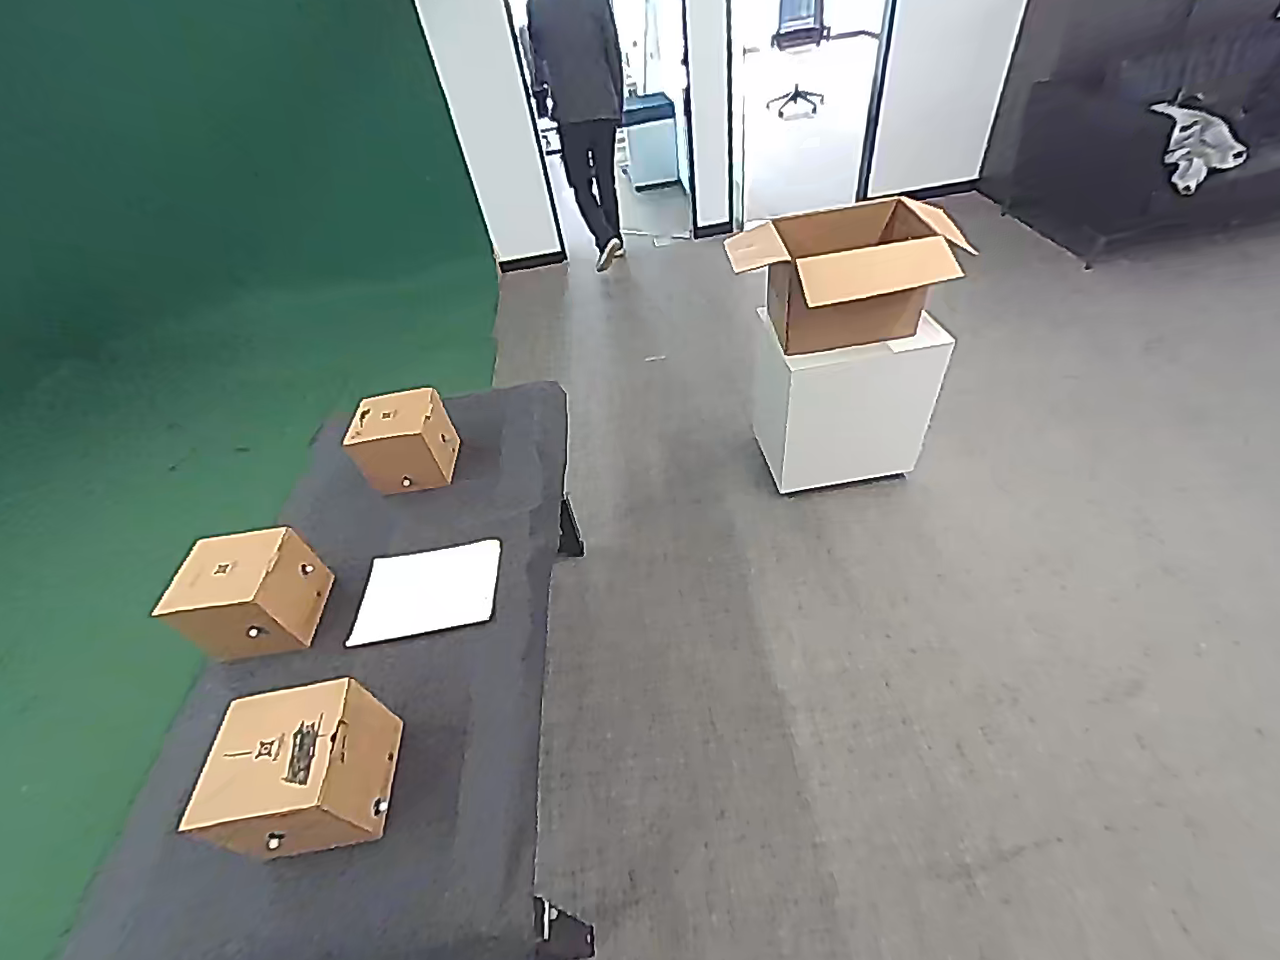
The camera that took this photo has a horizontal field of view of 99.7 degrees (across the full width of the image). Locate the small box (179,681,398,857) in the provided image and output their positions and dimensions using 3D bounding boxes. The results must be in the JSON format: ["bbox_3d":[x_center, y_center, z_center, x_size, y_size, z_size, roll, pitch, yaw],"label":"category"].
[{"bbox_3d":[-0.471,0.409,0.763,0.179,0.176,0.168,-10,44,0],"label":"small box"}]

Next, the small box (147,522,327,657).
[{"bbox_3d":[-0.716,0.202,0.990,0.179,0.176,0.168,-10,44,1],"label":"small box"}]

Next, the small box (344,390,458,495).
[{"bbox_3d":[-0.545,-0.085,1.264,0.179,0.176,0.168,-8,45,1],"label":"small box"}]
